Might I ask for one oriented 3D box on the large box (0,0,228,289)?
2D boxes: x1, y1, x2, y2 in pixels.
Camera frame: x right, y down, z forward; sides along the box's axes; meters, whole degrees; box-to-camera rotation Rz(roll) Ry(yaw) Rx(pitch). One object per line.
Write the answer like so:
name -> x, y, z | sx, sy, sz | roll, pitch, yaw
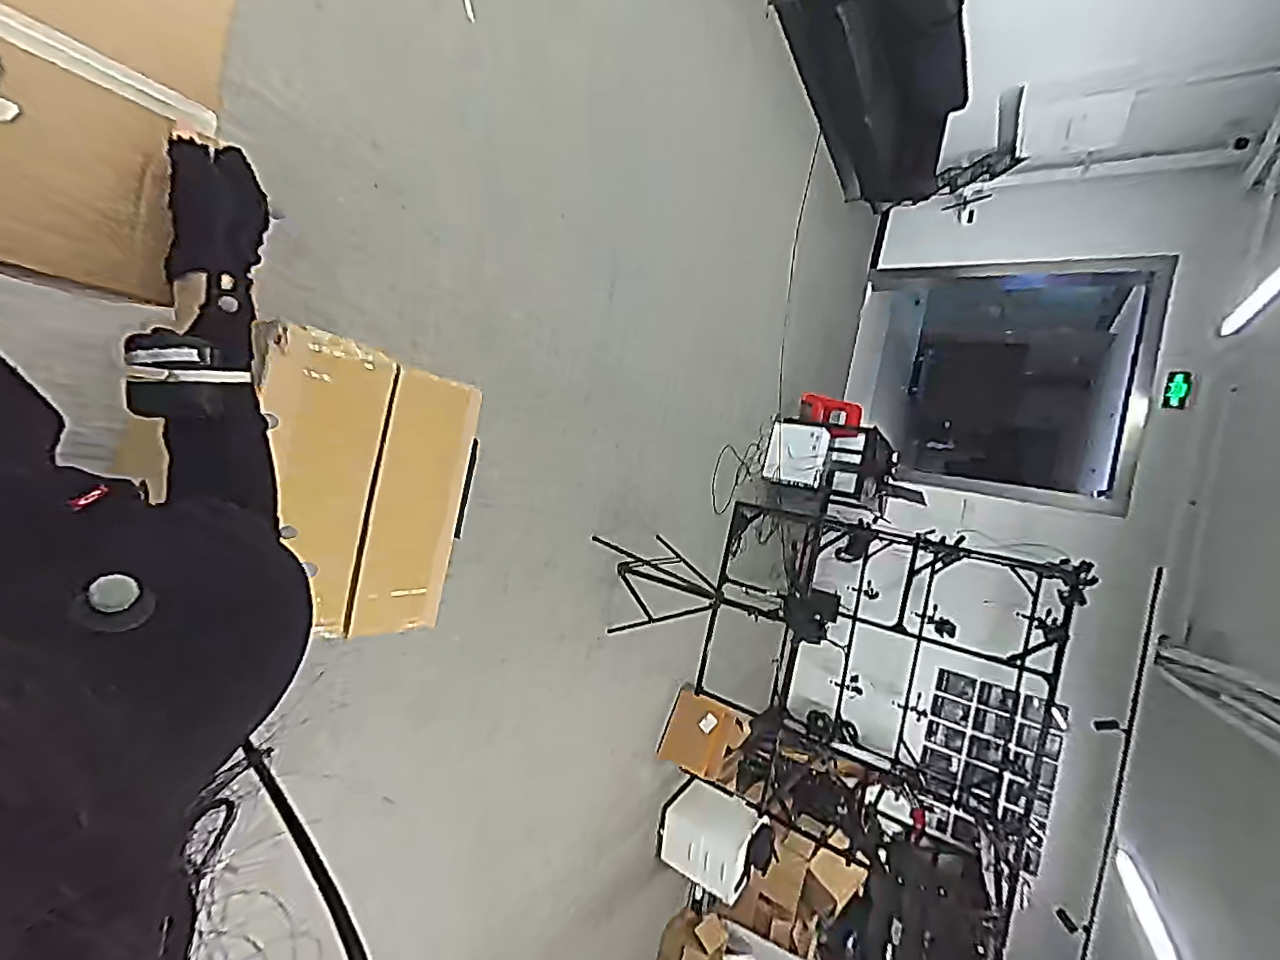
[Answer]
large box -> -0.592, -0.354, 0.374 | 0.408, 0.320, 0.320 | 8, 97, -55
